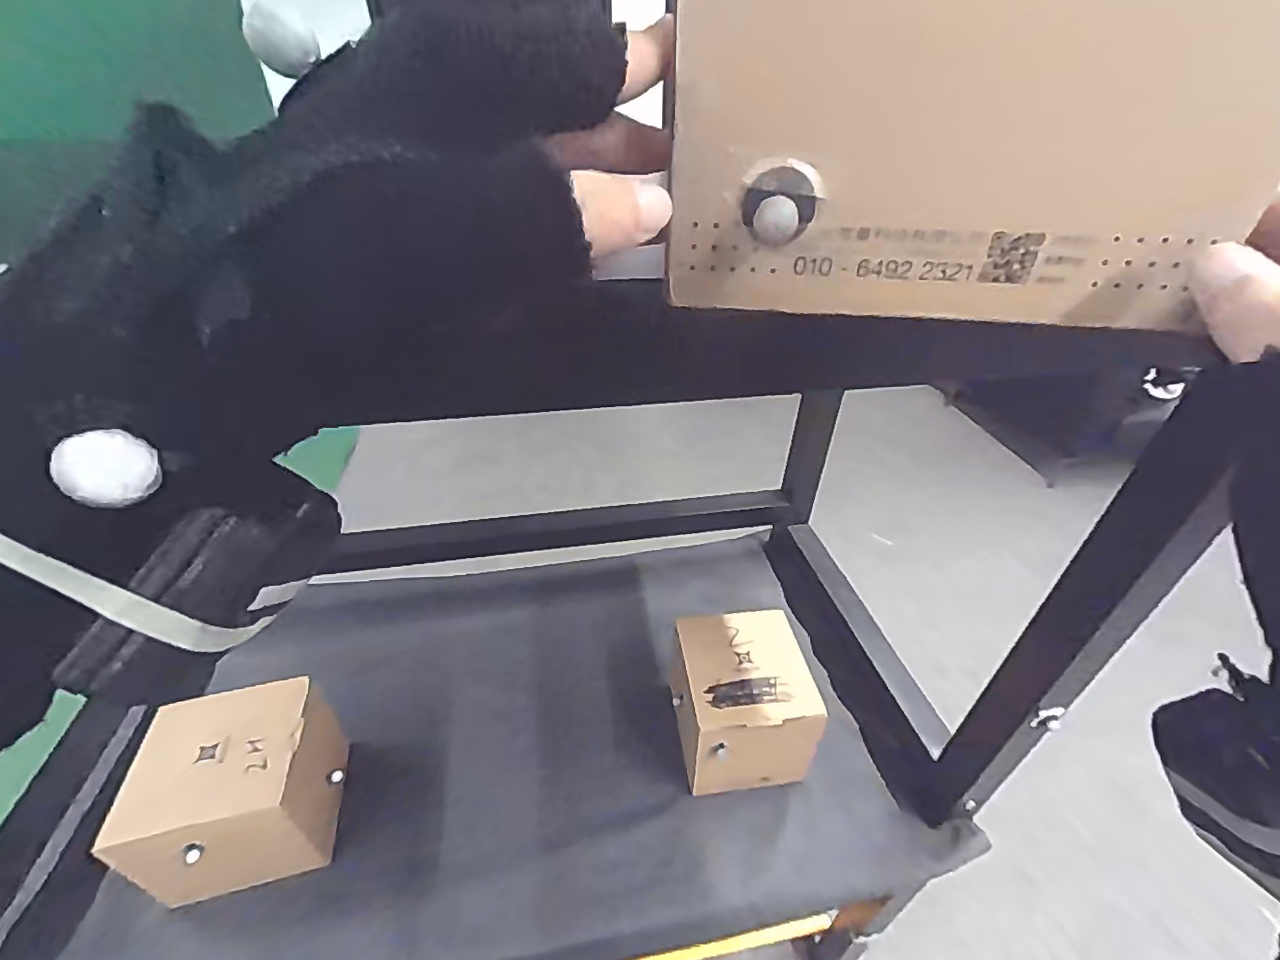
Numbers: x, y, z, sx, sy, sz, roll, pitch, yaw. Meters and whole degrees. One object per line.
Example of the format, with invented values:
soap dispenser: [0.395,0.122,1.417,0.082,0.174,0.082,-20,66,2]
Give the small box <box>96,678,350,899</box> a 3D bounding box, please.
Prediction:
small box: [-0.493,0.383,0.676,0.179,0.176,0.168,-8,37,-13]
